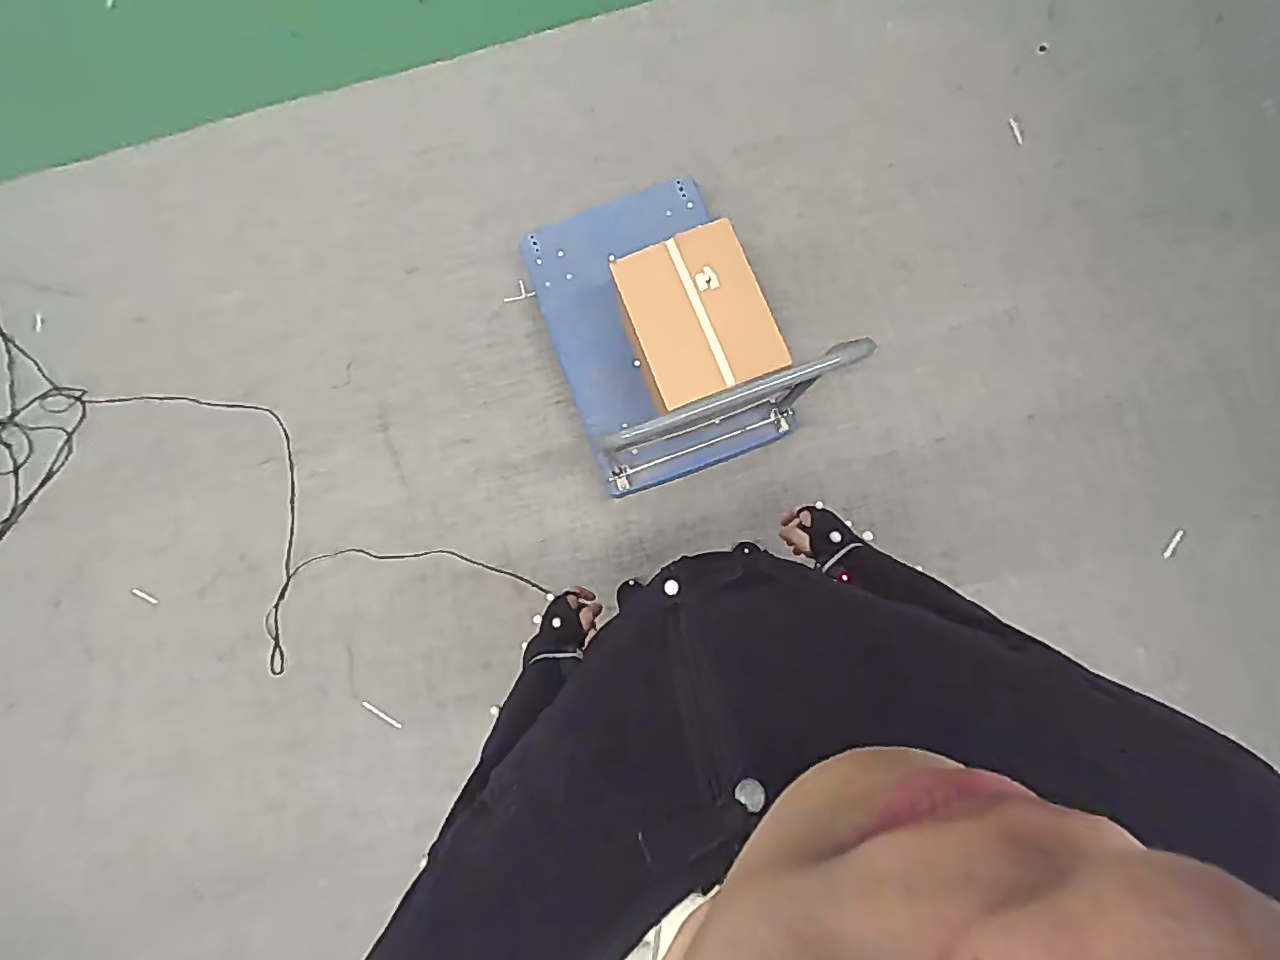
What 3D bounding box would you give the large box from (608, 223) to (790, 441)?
[{"bbox_3d":[0.145,-0.365,1.419,0.320,0.320,0.408,-21,80,-1],"label":"large box"}]
